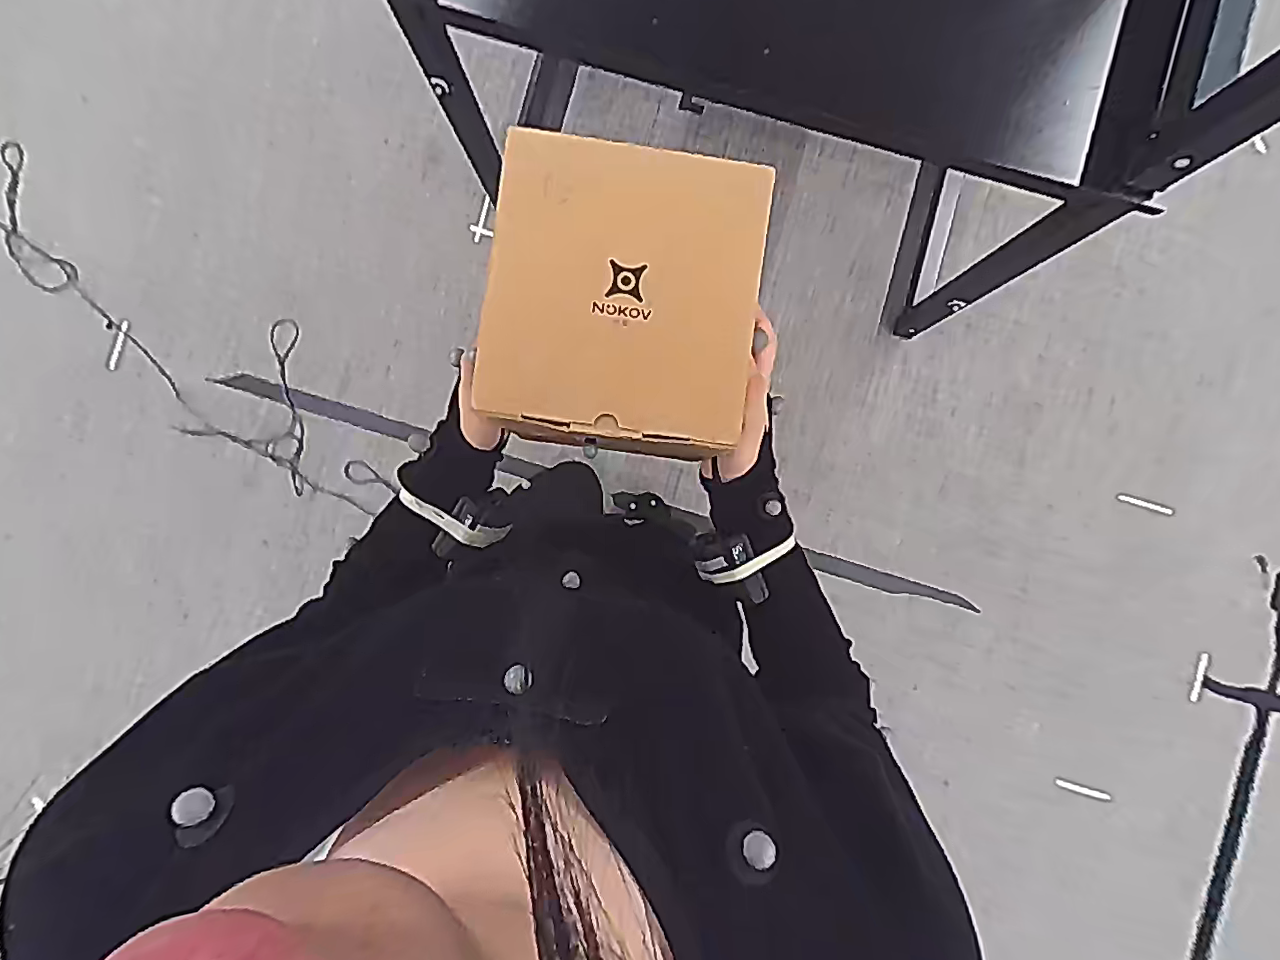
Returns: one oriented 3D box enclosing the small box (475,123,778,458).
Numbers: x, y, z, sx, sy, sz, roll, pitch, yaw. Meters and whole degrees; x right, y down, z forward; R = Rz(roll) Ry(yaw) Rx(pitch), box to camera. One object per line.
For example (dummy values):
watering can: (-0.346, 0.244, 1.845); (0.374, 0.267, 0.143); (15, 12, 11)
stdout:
small box: (-0.011, -0.115, 0.401); (0.168, 0.176, 0.179); (7, 90, -3)
